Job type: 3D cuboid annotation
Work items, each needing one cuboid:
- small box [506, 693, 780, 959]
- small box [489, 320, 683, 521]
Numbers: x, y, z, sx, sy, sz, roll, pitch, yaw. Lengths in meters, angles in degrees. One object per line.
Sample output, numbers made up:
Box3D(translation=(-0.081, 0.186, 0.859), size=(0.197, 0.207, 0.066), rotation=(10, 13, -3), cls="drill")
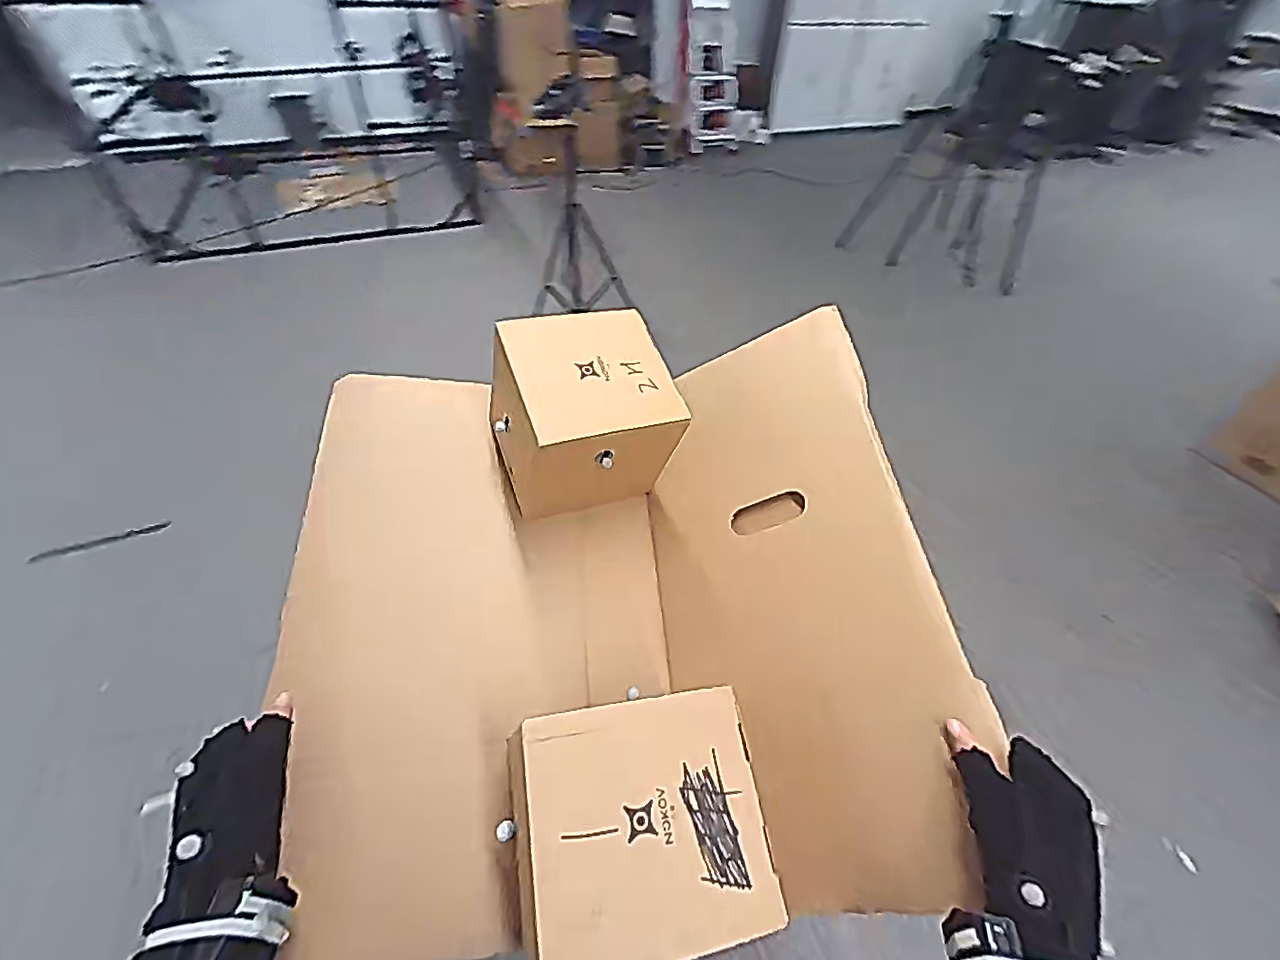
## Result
Box3D(translation=(-0.015, 0.289, 0.460), size=(0.179, 0.176, 0.168), rotation=(-2, 62, -18), cls="small box")
Box3D(translation=(-0.078, -0.068, 0.653), size=(0.179, 0.176, 0.168), rotation=(-12, 65, -25), cls="small box")
